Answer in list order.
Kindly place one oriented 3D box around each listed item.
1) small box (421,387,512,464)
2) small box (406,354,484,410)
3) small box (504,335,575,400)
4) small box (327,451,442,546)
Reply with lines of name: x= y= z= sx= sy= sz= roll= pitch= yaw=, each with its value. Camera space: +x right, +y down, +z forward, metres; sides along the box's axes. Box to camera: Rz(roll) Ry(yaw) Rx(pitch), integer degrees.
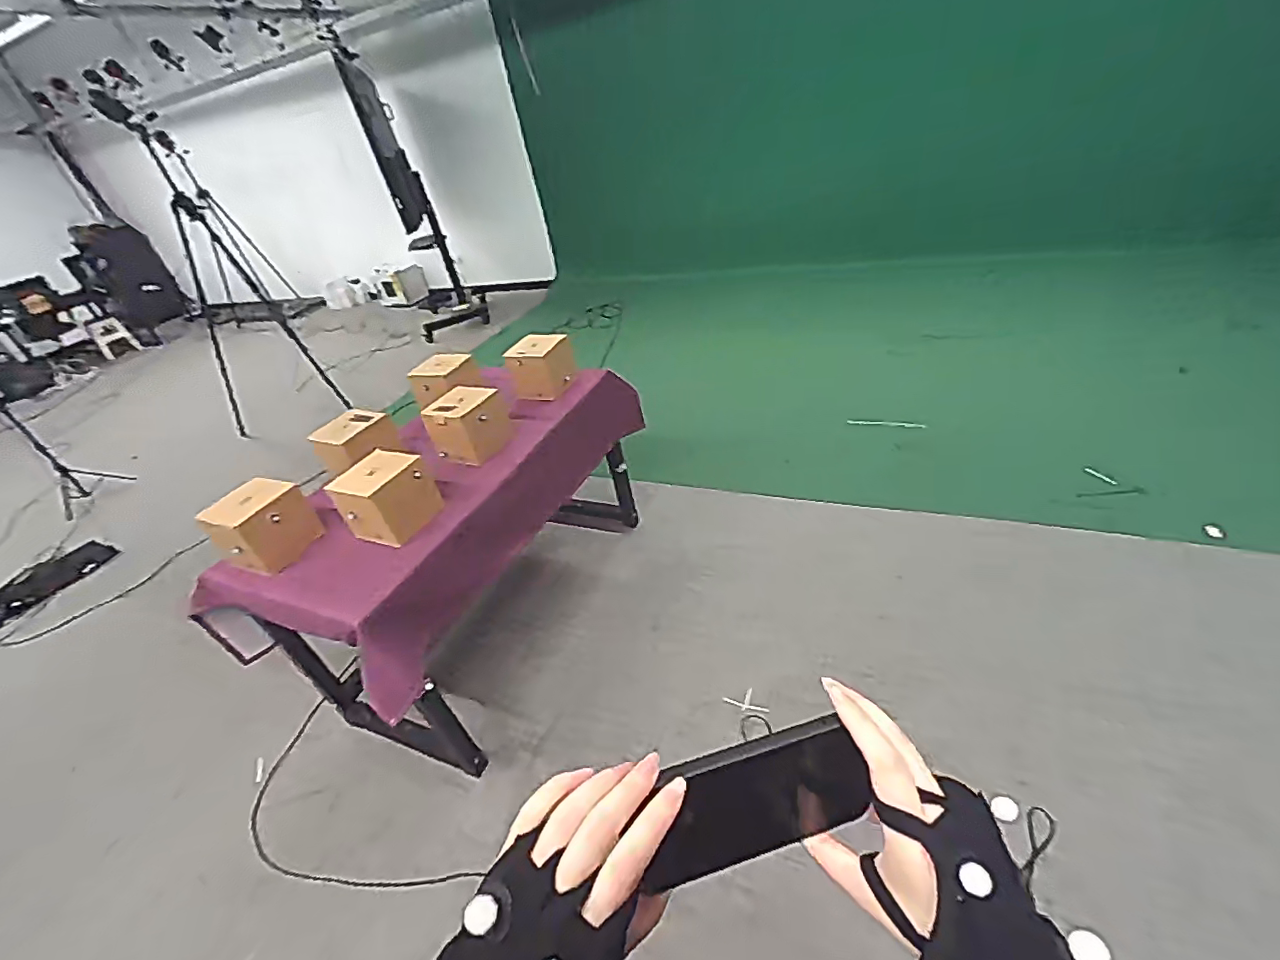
small box: x=-0.517 y=-0.166 z=1.638 sx=0.168 sy=0.176 sz=0.179 roll=9 pitch=40 yaw=28
small box: x=-0.682 y=-0.333 z=1.918 sx=0.179 sy=0.176 sz=0.168 roll=5 pitch=40 yaw=23
small box: x=-0.342 y=-0.397 z=1.900 sx=0.168 sy=0.176 sz=0.179 roll=5 pitch=39 yaw=25
small box: x=-0.645 y=0.046 z=1.386 sx=0.168 sy=0.176 sz=0.179 roll=7 pitch=39 yaw=26
